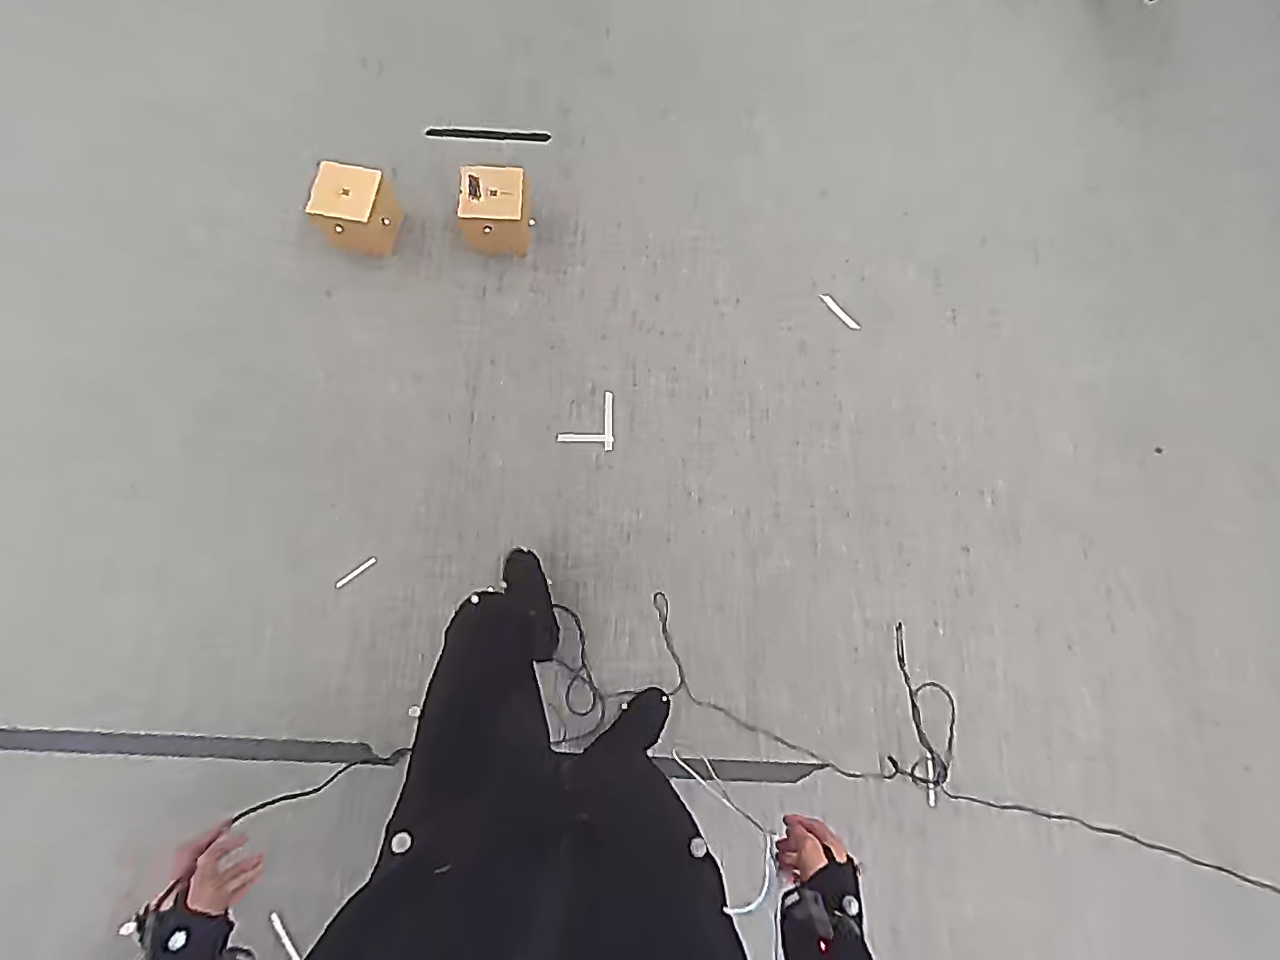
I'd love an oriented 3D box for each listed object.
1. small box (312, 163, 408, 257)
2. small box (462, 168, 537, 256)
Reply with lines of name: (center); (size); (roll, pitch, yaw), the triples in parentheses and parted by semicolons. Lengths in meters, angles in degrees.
small box: (-0.802, -0.775, 1.570); (0.179, 0.176, 0.168); (10, 79, 1)
small box: (-0.406, -0.779, 1.585); (0.179, 0.176, 0.168); (1, 79, -3)
